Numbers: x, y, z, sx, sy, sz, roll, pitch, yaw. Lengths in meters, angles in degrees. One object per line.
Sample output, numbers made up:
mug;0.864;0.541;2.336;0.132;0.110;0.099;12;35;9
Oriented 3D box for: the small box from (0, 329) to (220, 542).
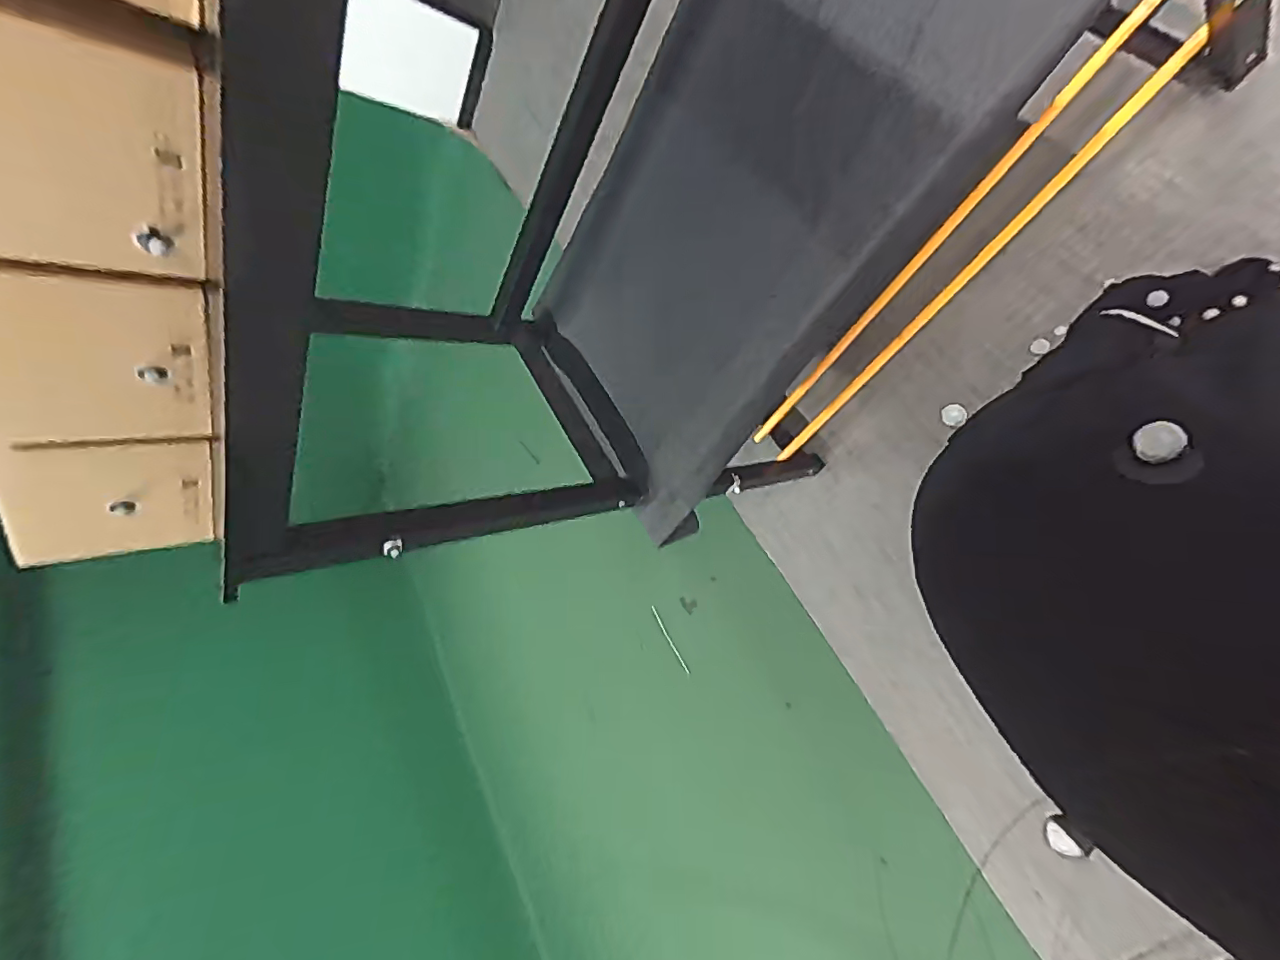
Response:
small box;-0.608;-0.056;0.633;0.179;0.176;0.168;52;129;29
